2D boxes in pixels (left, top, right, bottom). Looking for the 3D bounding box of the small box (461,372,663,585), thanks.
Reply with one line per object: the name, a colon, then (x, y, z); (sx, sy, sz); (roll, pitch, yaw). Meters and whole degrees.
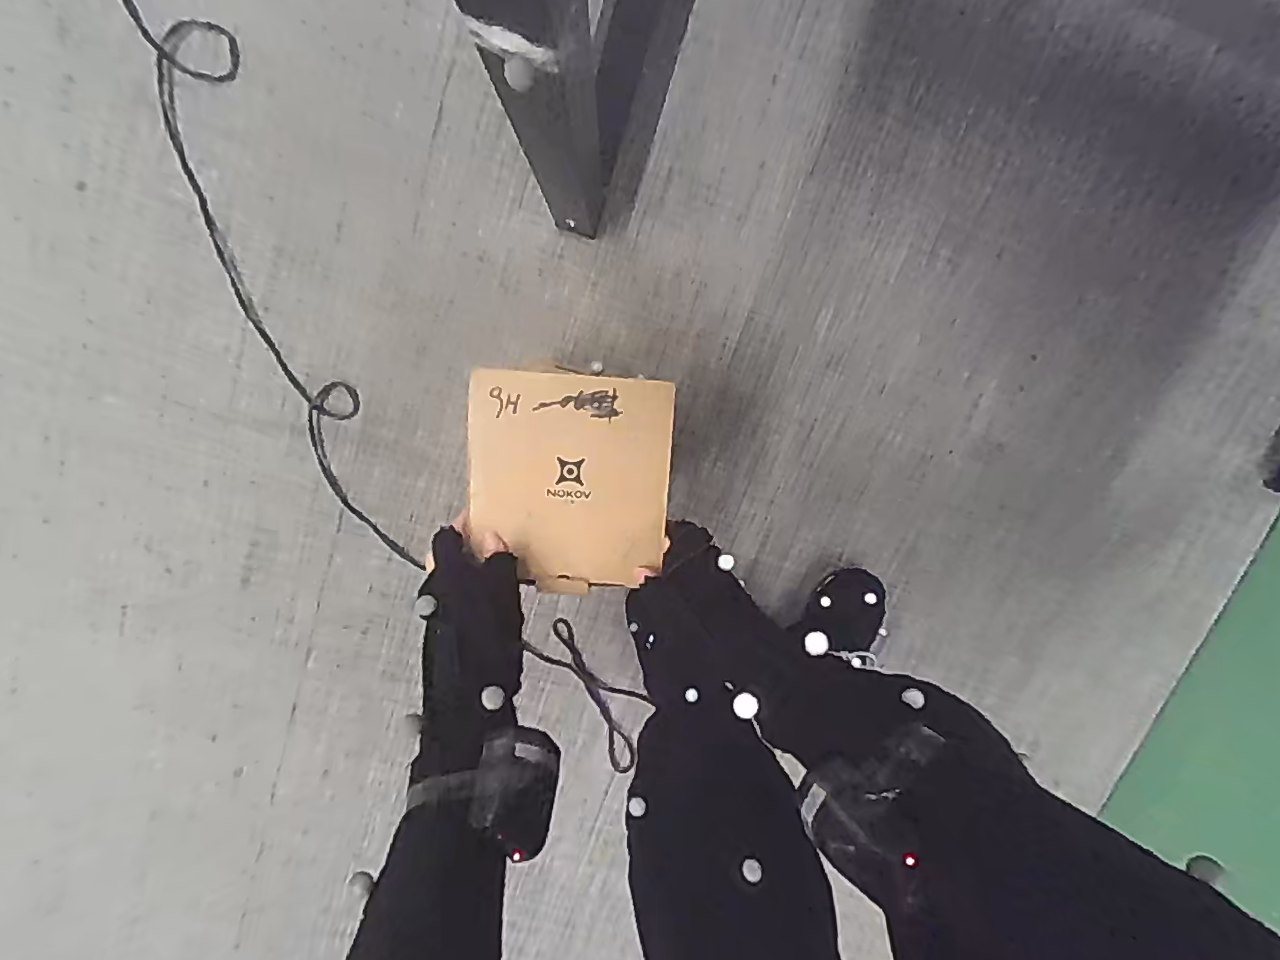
small box: (-0.063, -0.012, 0.524); (0.168, 0.176, 0.179); (2, 100, 0)
